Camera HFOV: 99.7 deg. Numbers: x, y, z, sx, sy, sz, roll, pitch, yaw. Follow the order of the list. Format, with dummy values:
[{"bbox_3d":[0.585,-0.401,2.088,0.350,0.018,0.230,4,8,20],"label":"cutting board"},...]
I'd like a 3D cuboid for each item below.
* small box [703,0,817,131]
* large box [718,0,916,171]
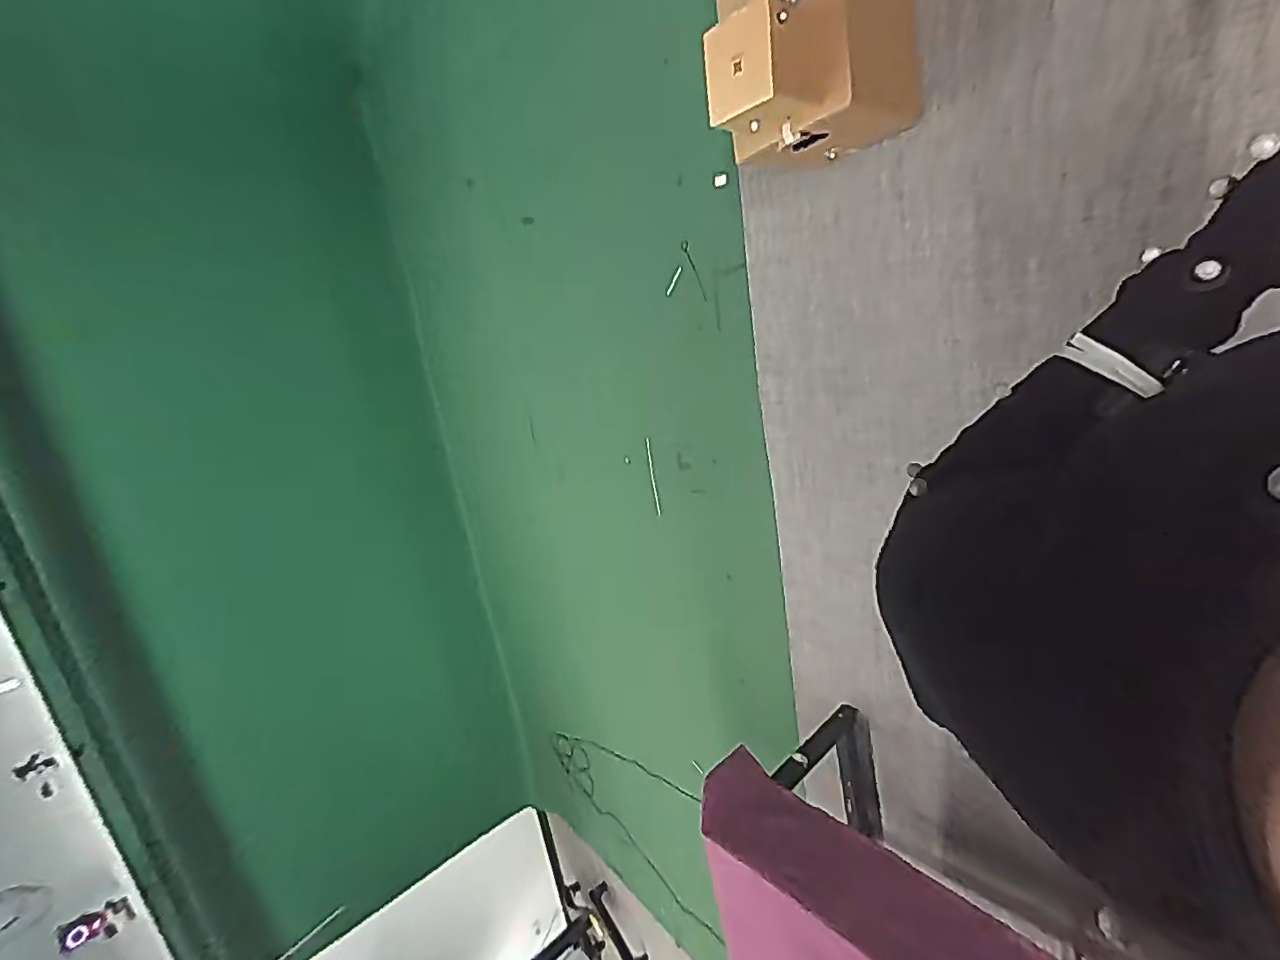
[{"bbox_3d":[0.254,-0.855,1.129,0.168,0.176,0.179,10,112,48],"label":"small box"},{"bbox_3d":[0.416,-1.005,1.267,0.320,0.320,0.408,6,110,50],"label":"large box"}]
